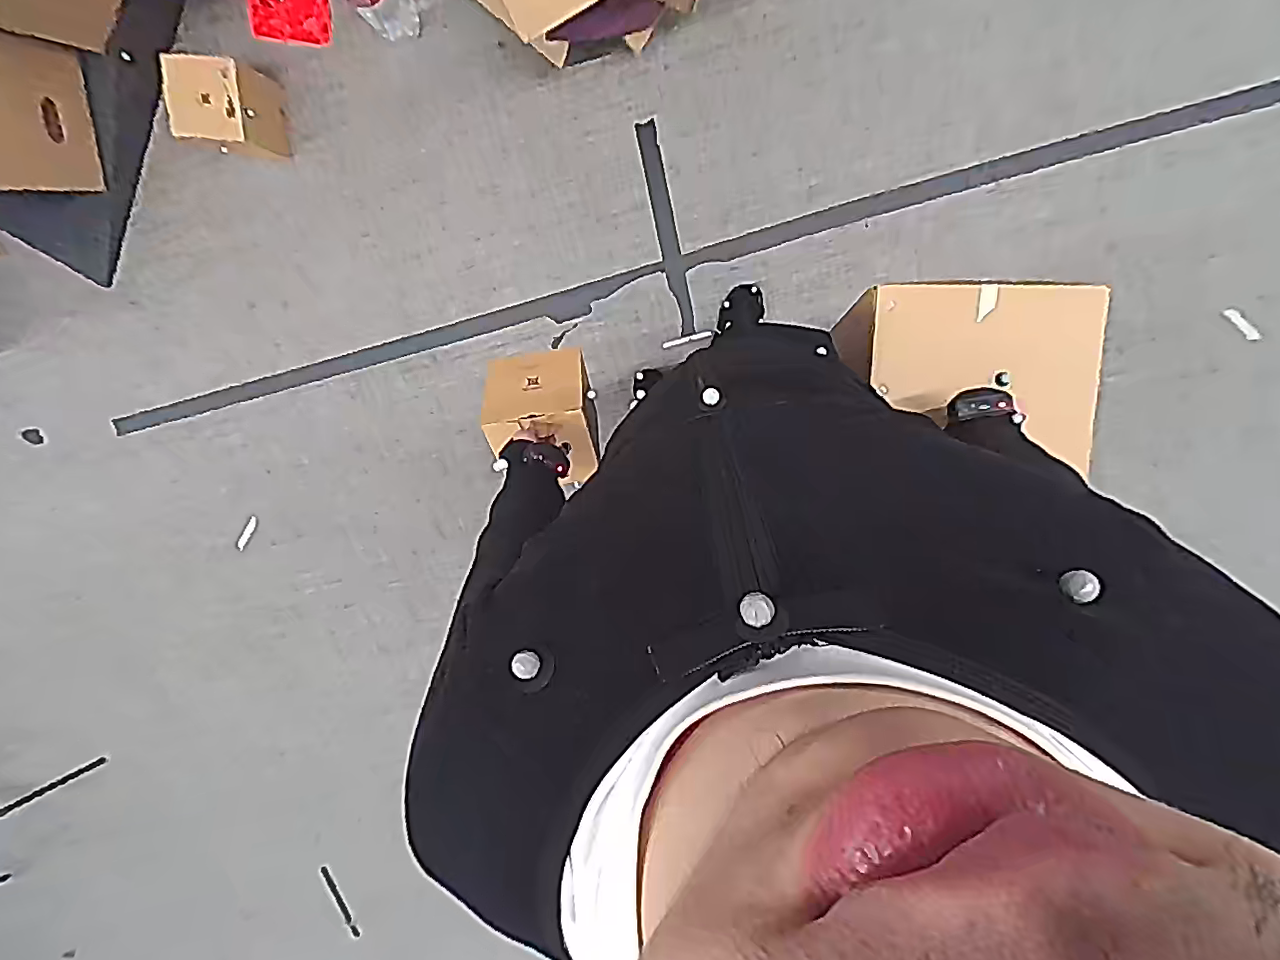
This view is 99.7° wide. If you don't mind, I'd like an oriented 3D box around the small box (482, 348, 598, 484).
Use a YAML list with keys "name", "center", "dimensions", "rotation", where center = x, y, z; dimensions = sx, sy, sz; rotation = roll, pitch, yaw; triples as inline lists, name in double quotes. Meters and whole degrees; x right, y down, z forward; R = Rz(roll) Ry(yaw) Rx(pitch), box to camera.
- name: "small box"
  center: [-0.171, -0.107, 0.971]
  dimensions: [0.168, 0.179, 0.176]
  rotation: [-9, 138, 1]
